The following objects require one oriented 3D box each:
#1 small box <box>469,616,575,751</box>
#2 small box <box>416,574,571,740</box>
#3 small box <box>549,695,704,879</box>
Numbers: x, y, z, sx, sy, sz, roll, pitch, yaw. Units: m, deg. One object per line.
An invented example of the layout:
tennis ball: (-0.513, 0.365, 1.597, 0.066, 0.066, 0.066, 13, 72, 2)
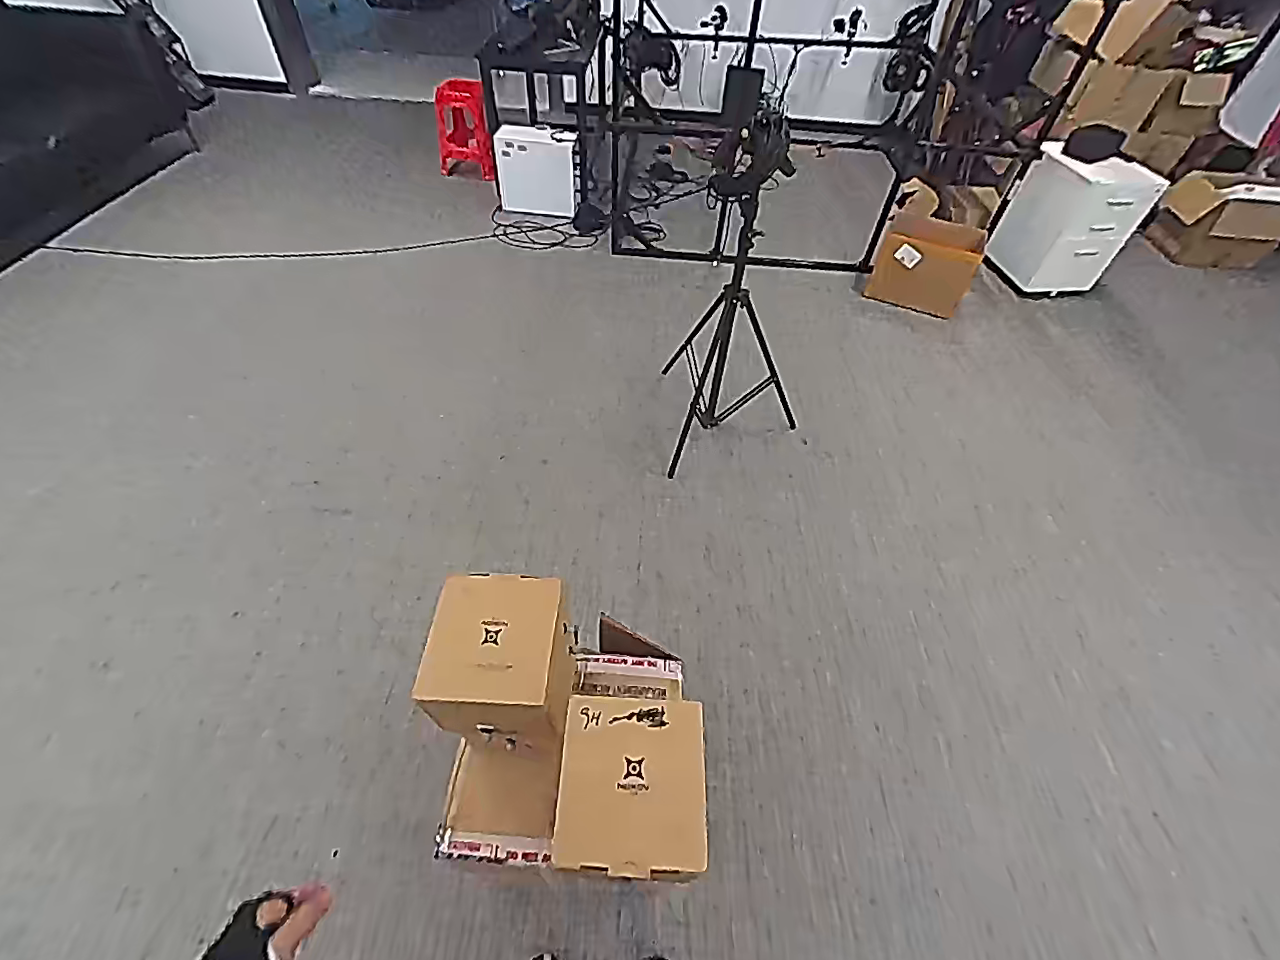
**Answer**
small box: (-0.202, 0.339, 0.911, 0.168, 0.176, 0.179, 3, 52, 1)
small box: (-0.192, 0.254, 0.771, 0.168, 0.176, 0.179, 2, 52, 1)
small box: (-0.012, 0.386, 0.673, 0.168, 0.176, 0.179, 4, 52, -1)
